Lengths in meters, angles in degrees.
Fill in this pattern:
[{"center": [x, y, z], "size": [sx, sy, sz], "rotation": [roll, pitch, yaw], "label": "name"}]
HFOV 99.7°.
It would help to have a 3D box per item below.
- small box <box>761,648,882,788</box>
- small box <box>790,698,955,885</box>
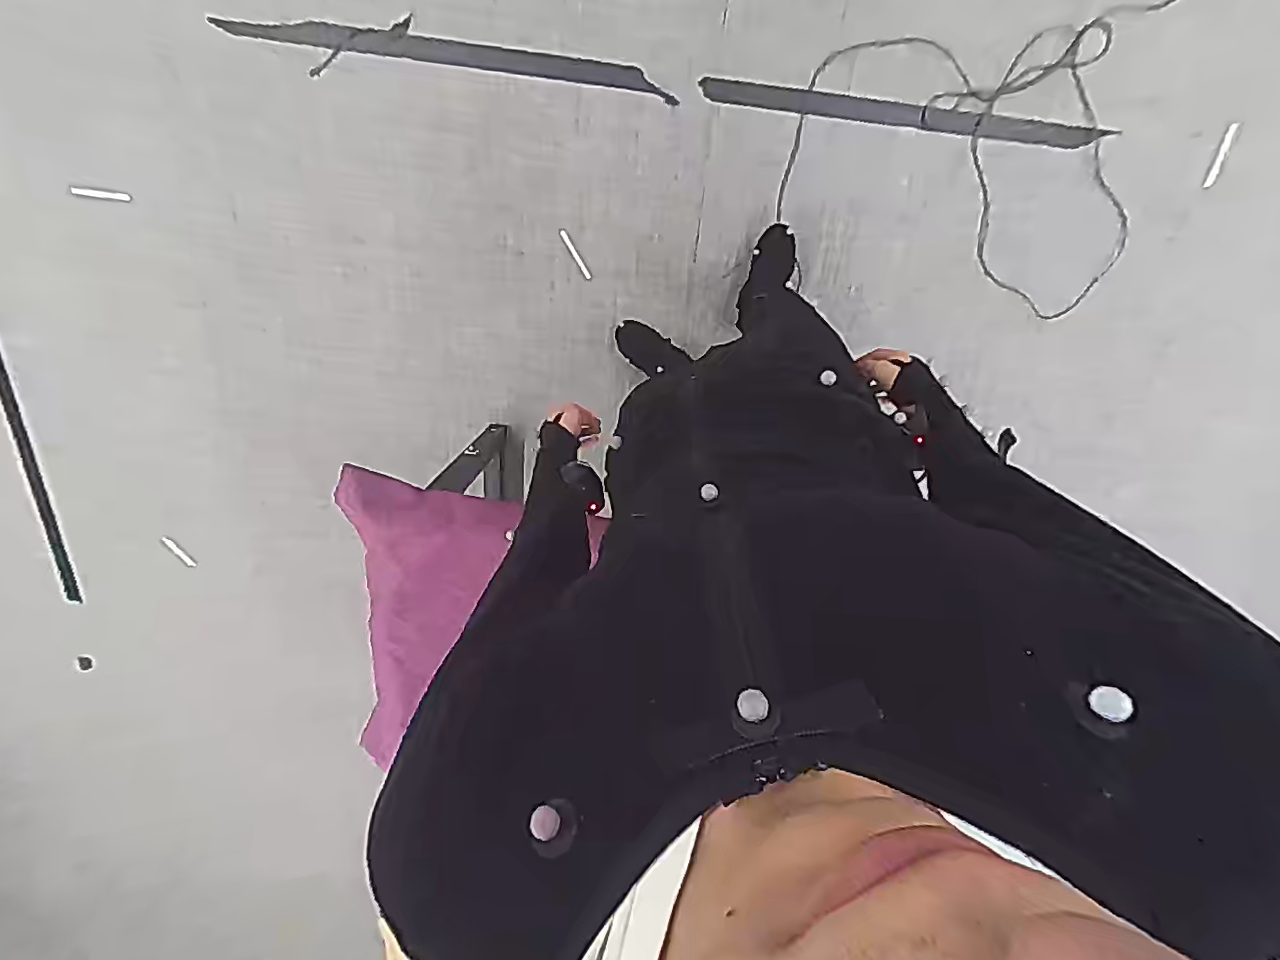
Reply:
[{"center": [0.323, 0.418, 0.965], "size": [0.179, 0.176, 0.168], "rotation": [-1, 111, 2], "label": "small box"}, {"center": [0.327, 0.455, 0.803], "size": [0.168, 0.176, 0.179], "rotation": [1, 111, 1], "label": "small box"}]
